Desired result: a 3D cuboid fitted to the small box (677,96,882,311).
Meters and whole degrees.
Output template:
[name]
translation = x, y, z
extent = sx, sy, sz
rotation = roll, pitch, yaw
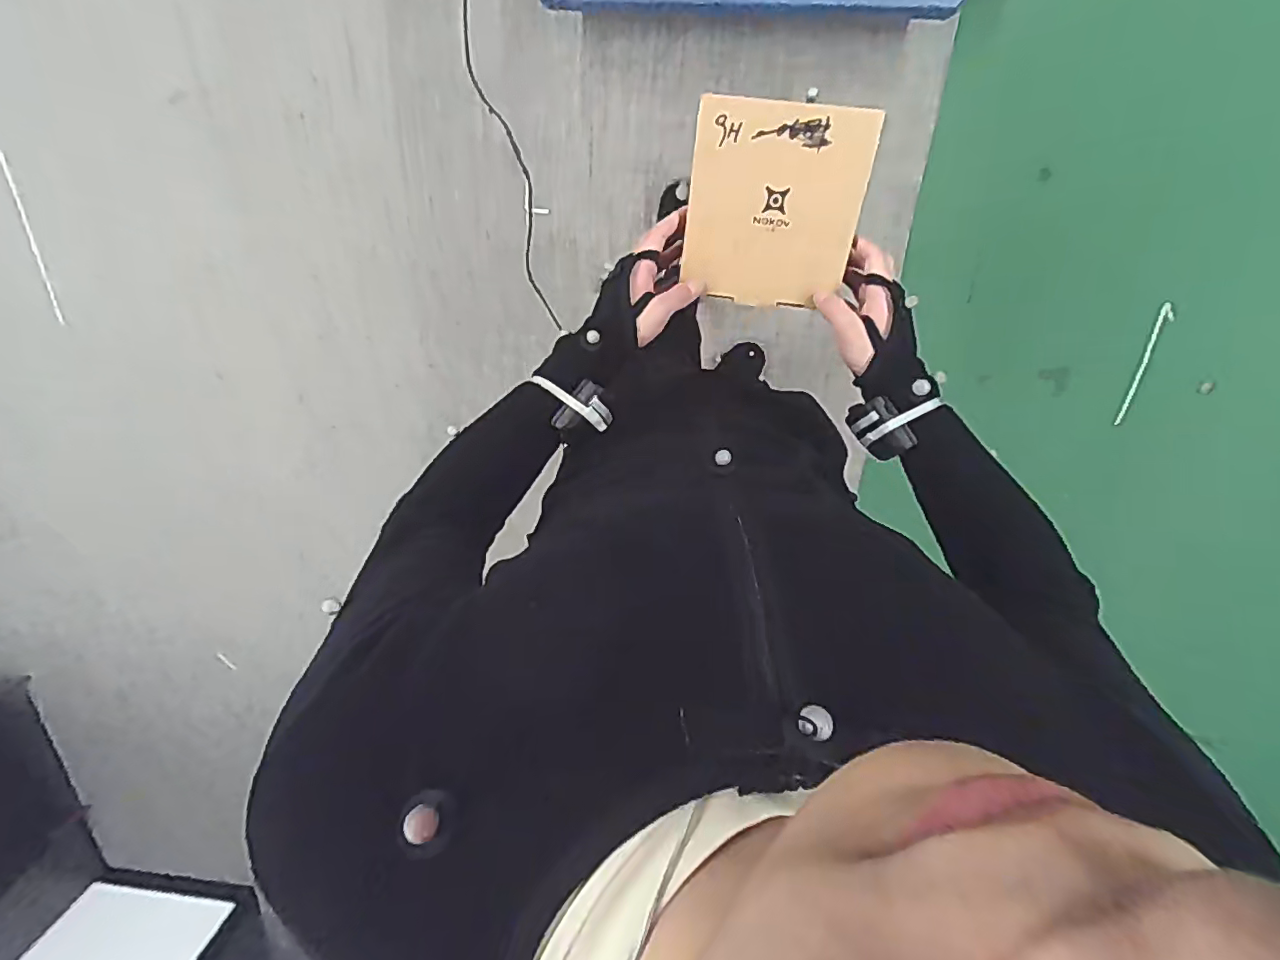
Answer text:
[small box]
translation = 0.137, -0.302, 0.594
extent = 0.168, 0.176, 0.179
rotation = 7, 121, 2
